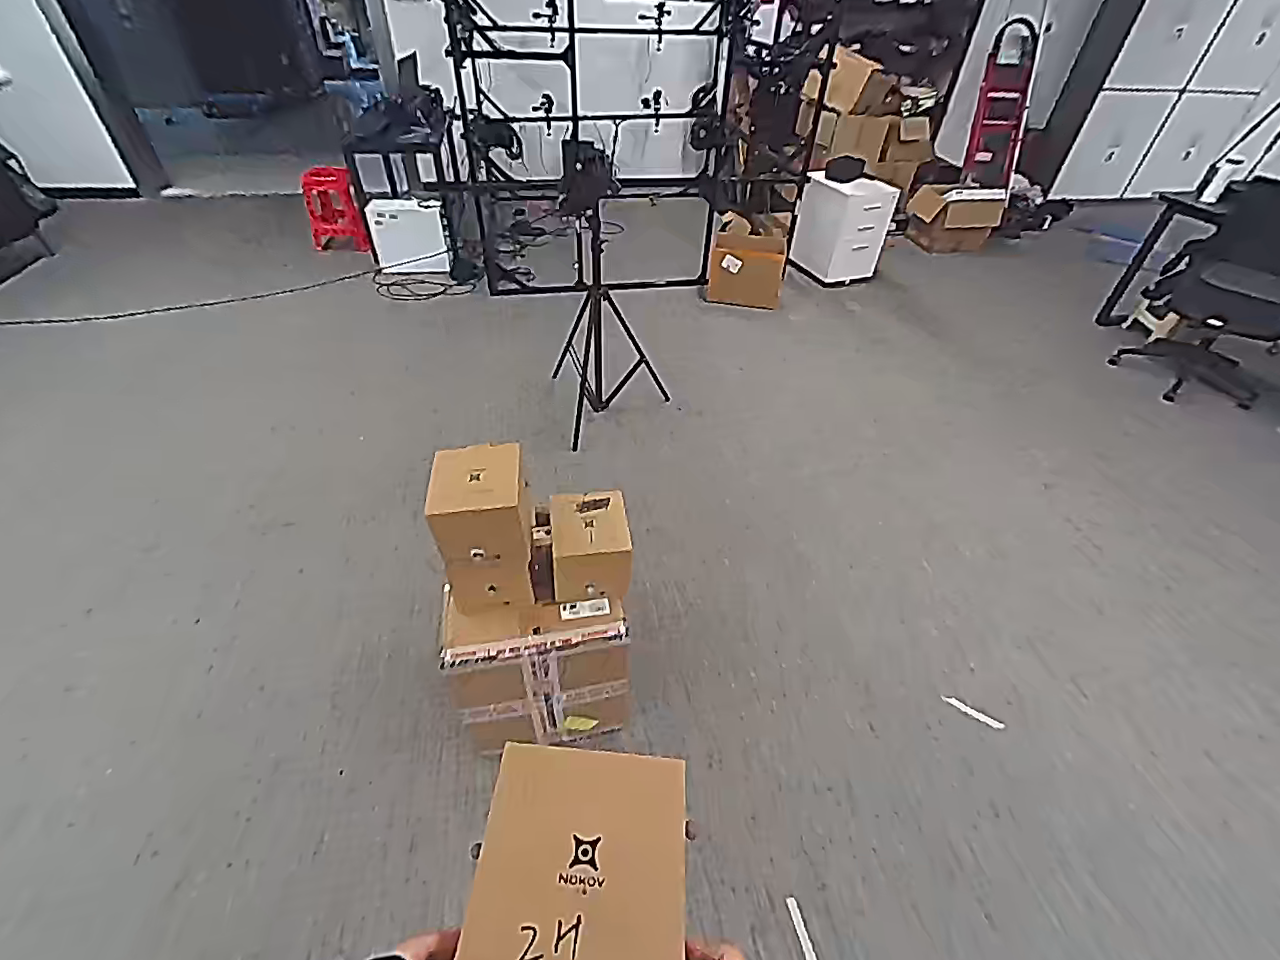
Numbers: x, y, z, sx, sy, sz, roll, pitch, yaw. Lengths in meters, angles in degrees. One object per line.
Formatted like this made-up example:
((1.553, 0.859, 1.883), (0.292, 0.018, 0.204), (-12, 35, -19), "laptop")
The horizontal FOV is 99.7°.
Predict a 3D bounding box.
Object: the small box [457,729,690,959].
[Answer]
((-0.047, 0.353, 0.486), (0.168, 0.176, 0.179), (5, 43, 0), "small box")

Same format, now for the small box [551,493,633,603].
((-0.113, 0.152, 1.212), (0.168, 0.176, 0.179), (-4, 45, -9), "small box")

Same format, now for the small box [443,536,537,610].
((-0.319, 0.169, 1.182), (0.168, 0.176, 0.179), (-6, 45, -7), "small box")

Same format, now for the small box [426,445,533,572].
((-0.306, 0.056, 1.065), (0.168, 0.176, 0.179), (-7, 46, -6), "small box")
